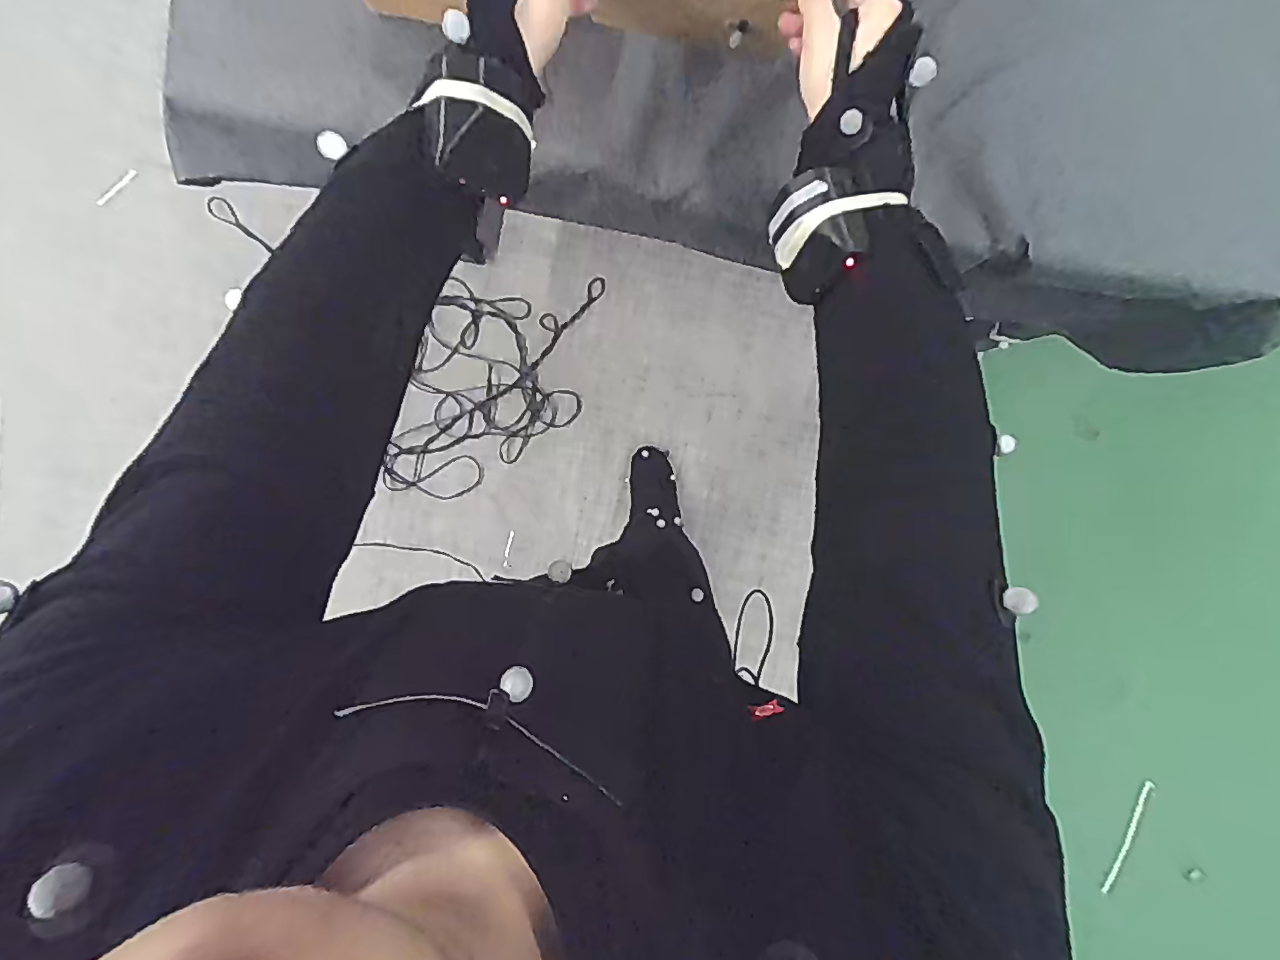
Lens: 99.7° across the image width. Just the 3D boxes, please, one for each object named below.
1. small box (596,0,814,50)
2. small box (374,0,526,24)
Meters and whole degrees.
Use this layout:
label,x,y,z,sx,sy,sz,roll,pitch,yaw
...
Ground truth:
label,x,y,z,sx,sy,sz,roll,pitch,yaw
small box,0.056,-0.444,0.388,0.179,0.176,0.168,12,114,-1
small box,-0.202,-0.564,0.489,0.179,0.176,0.168,12,97,4
